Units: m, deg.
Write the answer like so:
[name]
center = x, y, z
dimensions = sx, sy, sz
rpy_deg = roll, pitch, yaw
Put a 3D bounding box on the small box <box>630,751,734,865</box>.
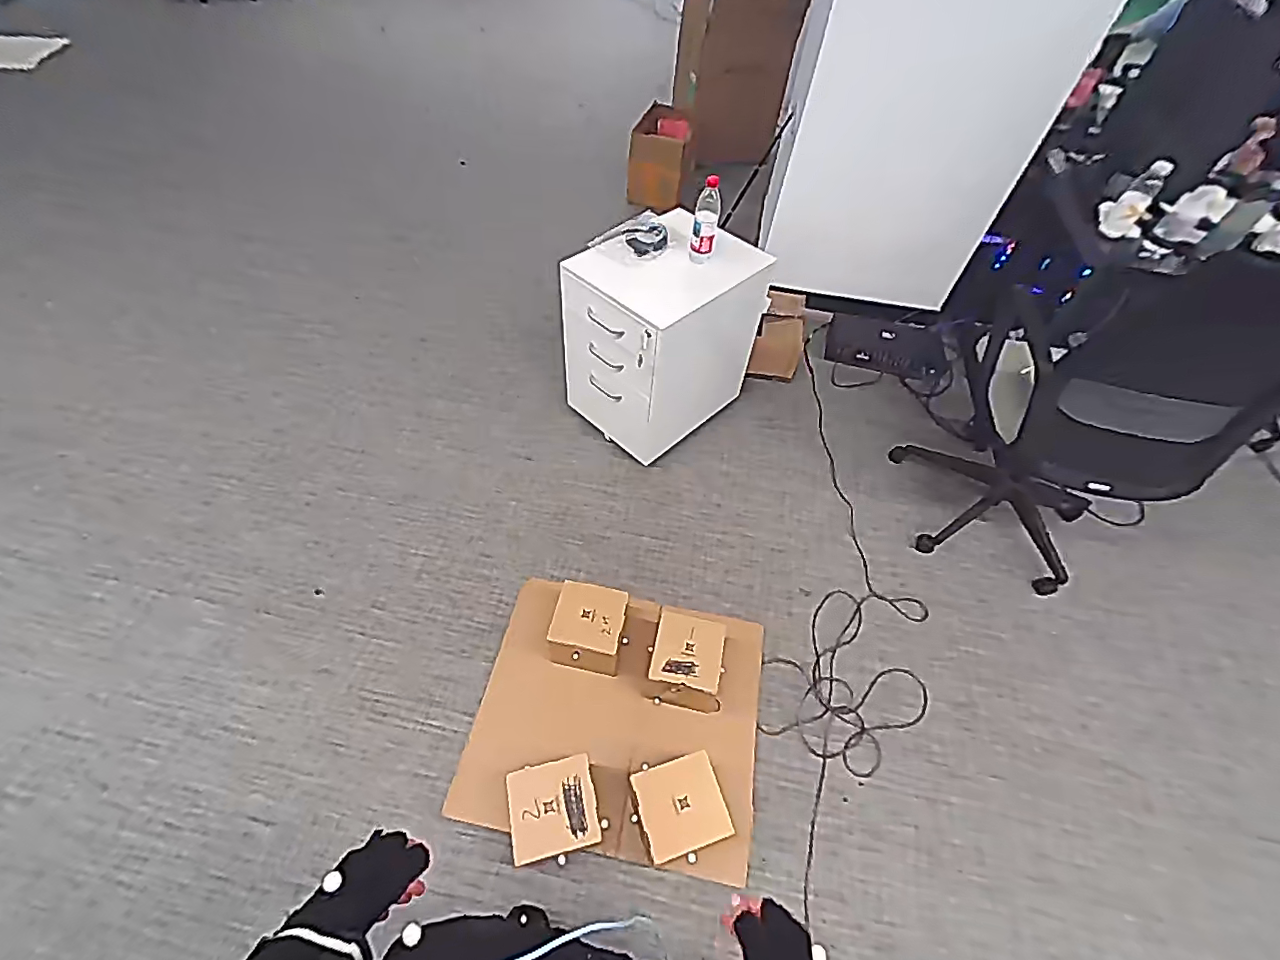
[small box]
center = 0.082, 0.720, 1.187
dimensions = 0.179, 0.176, 0.168
rpy_deg = -14, 55, -12
